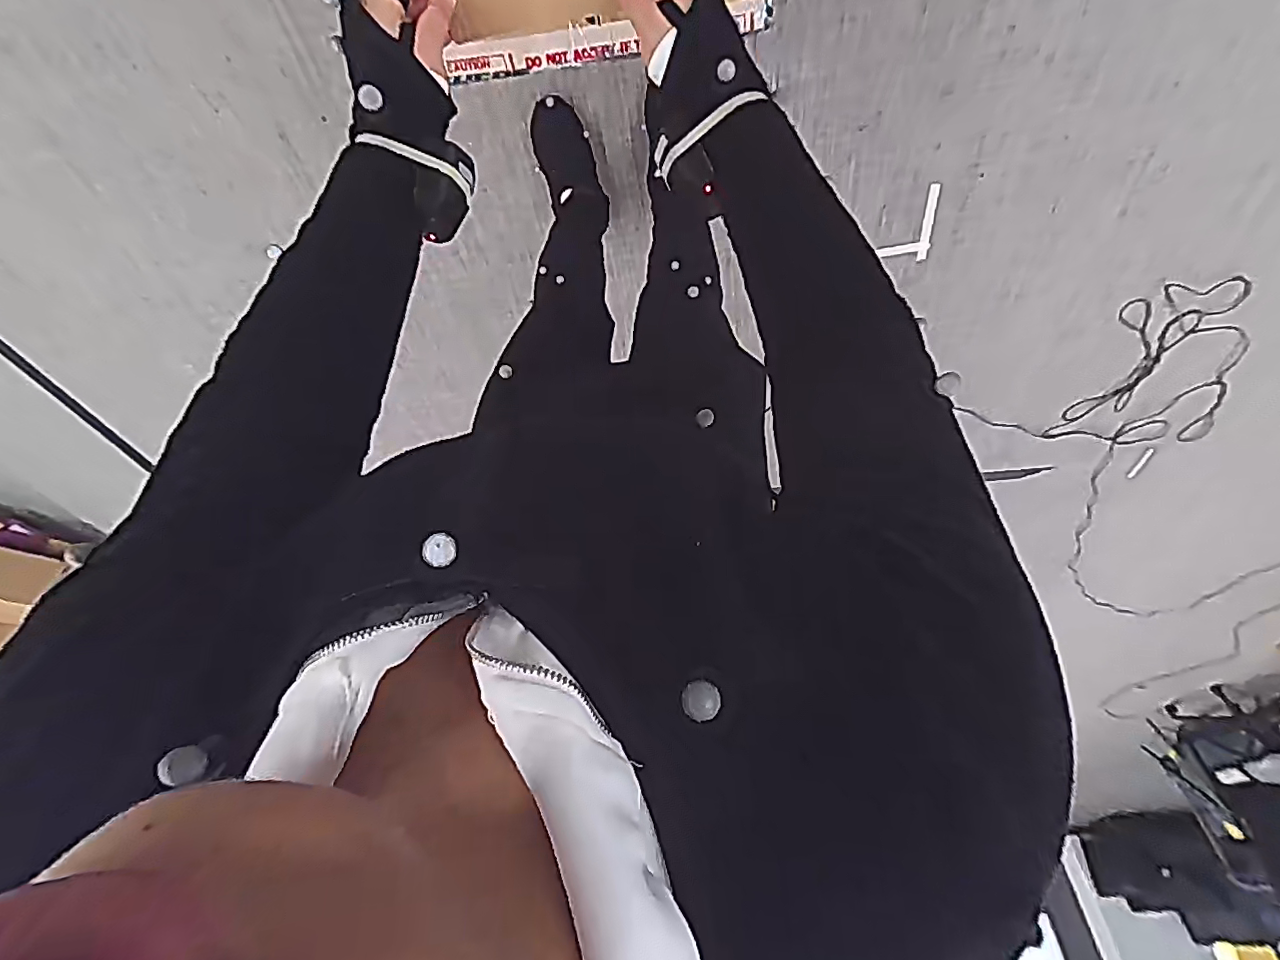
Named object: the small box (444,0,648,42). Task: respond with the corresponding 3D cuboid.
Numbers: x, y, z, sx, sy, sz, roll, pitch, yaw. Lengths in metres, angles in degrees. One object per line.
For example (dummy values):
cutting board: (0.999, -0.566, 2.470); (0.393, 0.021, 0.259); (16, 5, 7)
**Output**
small box: (-0.083, -0.490, 0.426); (0.168, 0.176, 0.179); (-3, 144, 9)
